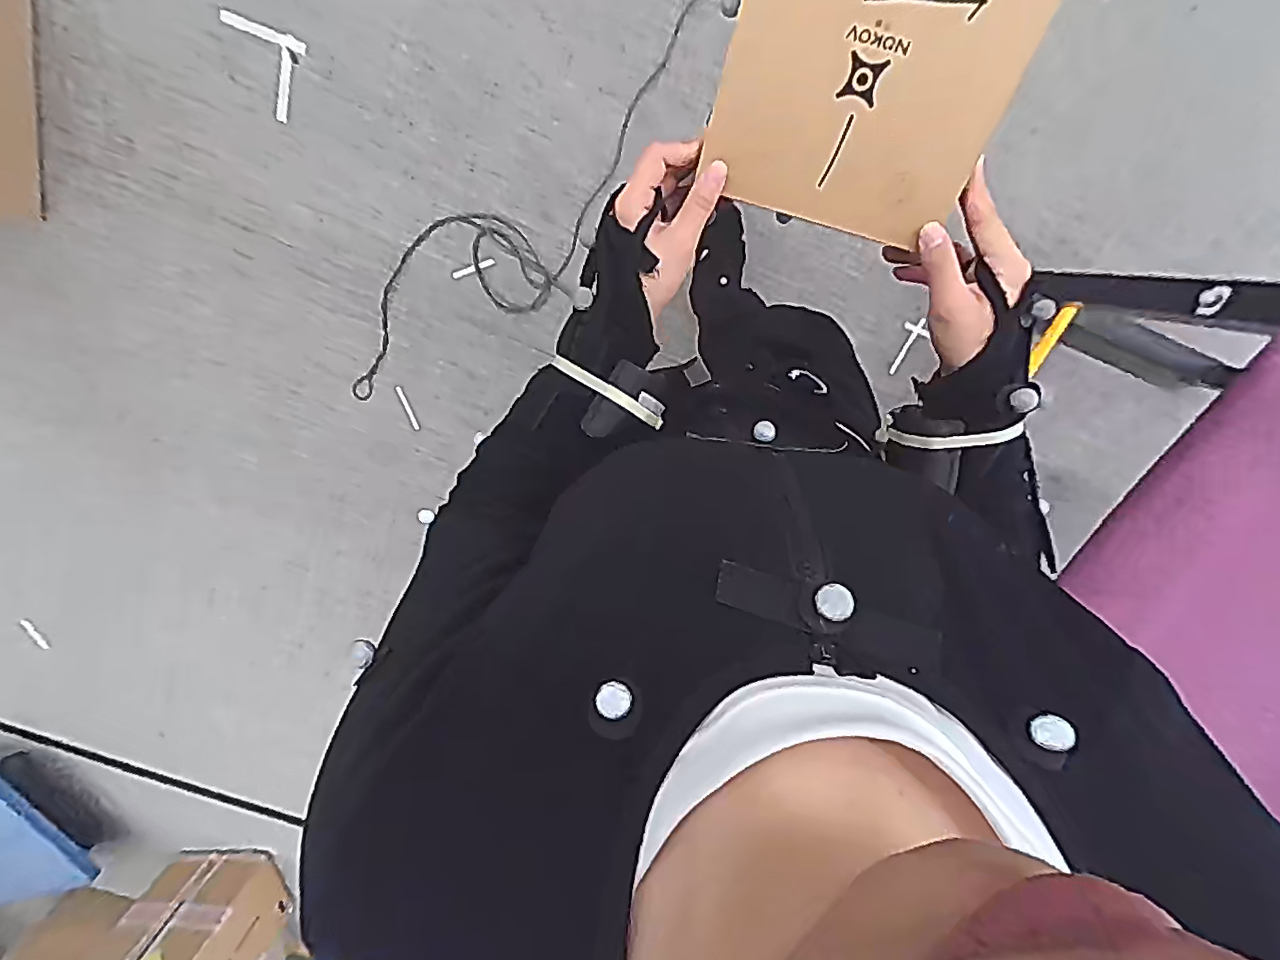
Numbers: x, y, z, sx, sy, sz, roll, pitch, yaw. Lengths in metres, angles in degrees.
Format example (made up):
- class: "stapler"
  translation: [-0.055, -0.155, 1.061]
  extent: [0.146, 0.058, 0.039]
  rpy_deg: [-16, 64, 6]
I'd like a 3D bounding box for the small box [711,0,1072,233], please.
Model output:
- class: "small box"
  translation: [0.153, -0.294, 0.367]
  extent: [0.168, 0.176, 0.179]
  rpy_deg: [16, 125, 0]
